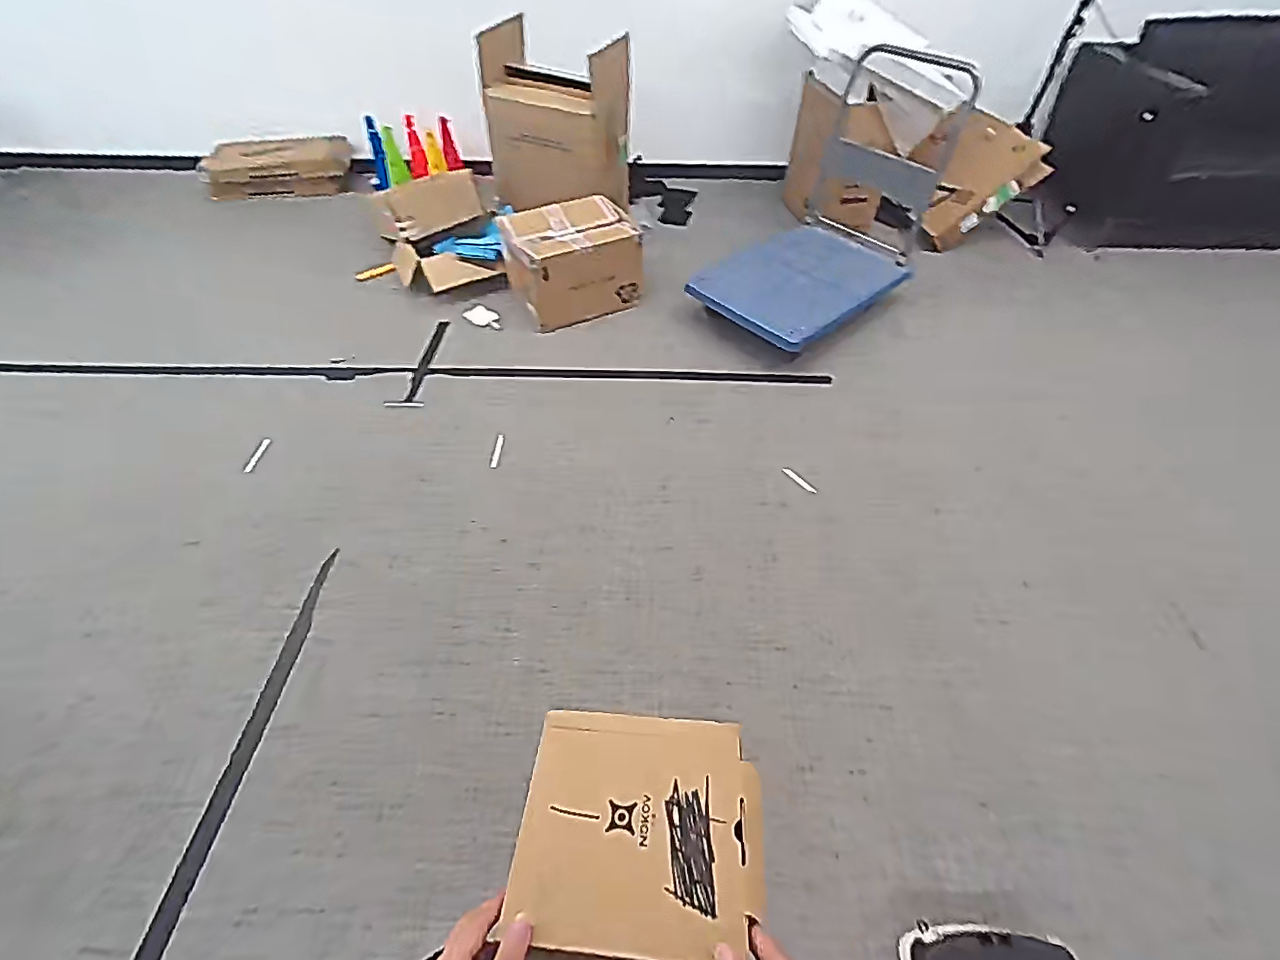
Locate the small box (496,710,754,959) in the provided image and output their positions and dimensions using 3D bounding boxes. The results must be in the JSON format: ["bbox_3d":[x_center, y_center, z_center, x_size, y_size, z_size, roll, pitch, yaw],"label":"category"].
[{"bbox_3d":[-0.001,0.324,0.470,0.179,0.176,0.168,2,42,6],"label":"small box"}]
